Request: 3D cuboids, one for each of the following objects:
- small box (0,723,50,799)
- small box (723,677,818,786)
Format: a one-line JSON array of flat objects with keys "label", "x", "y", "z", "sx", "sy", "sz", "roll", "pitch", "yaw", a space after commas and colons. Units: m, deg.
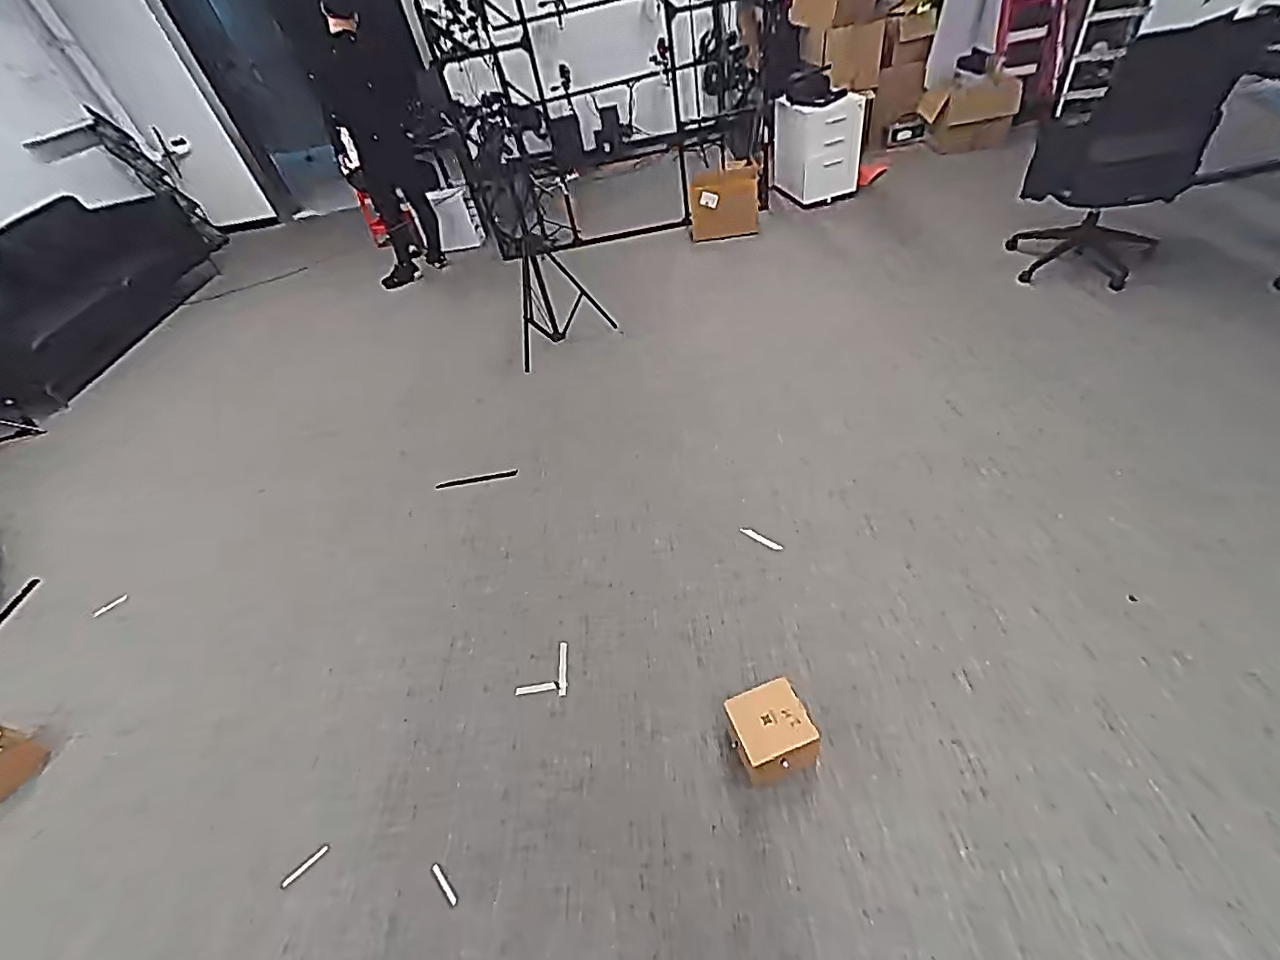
[{"label": "small box", "x": -2.029, "y": 0.875, "z": 1.680, "sx": 0.168, "sy": 0.176, "sz": 0.179, "roll": 10, "pitch": 48, "yaw": 23}, {"label": "small box", "x": 0.324, "y": 0.632, "z": 1.353, "sx": 0.179, "sy": 0.176, "sz": 0.168, "roll": -19, "pitch": 44, "yaw": -7}]
